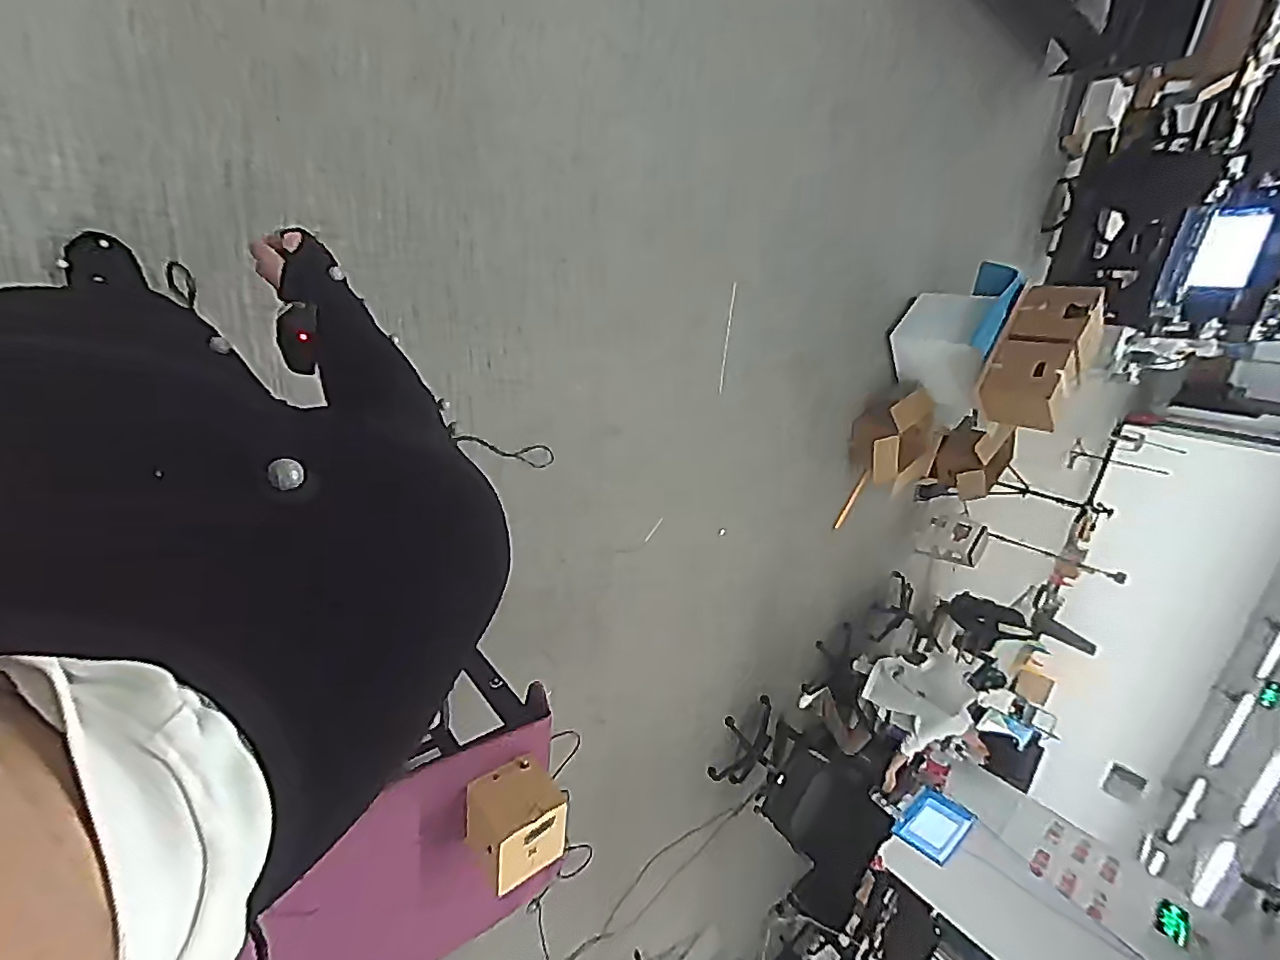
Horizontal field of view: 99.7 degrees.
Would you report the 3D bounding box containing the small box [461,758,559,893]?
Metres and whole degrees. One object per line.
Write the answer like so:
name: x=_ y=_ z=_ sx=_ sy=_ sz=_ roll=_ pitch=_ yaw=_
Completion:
small box: x=-0.302 y=0.776 z=1.242 sx=0.168 sy=0.176 sz=0.179 roll=-10 pitch=116 yaw=-38
